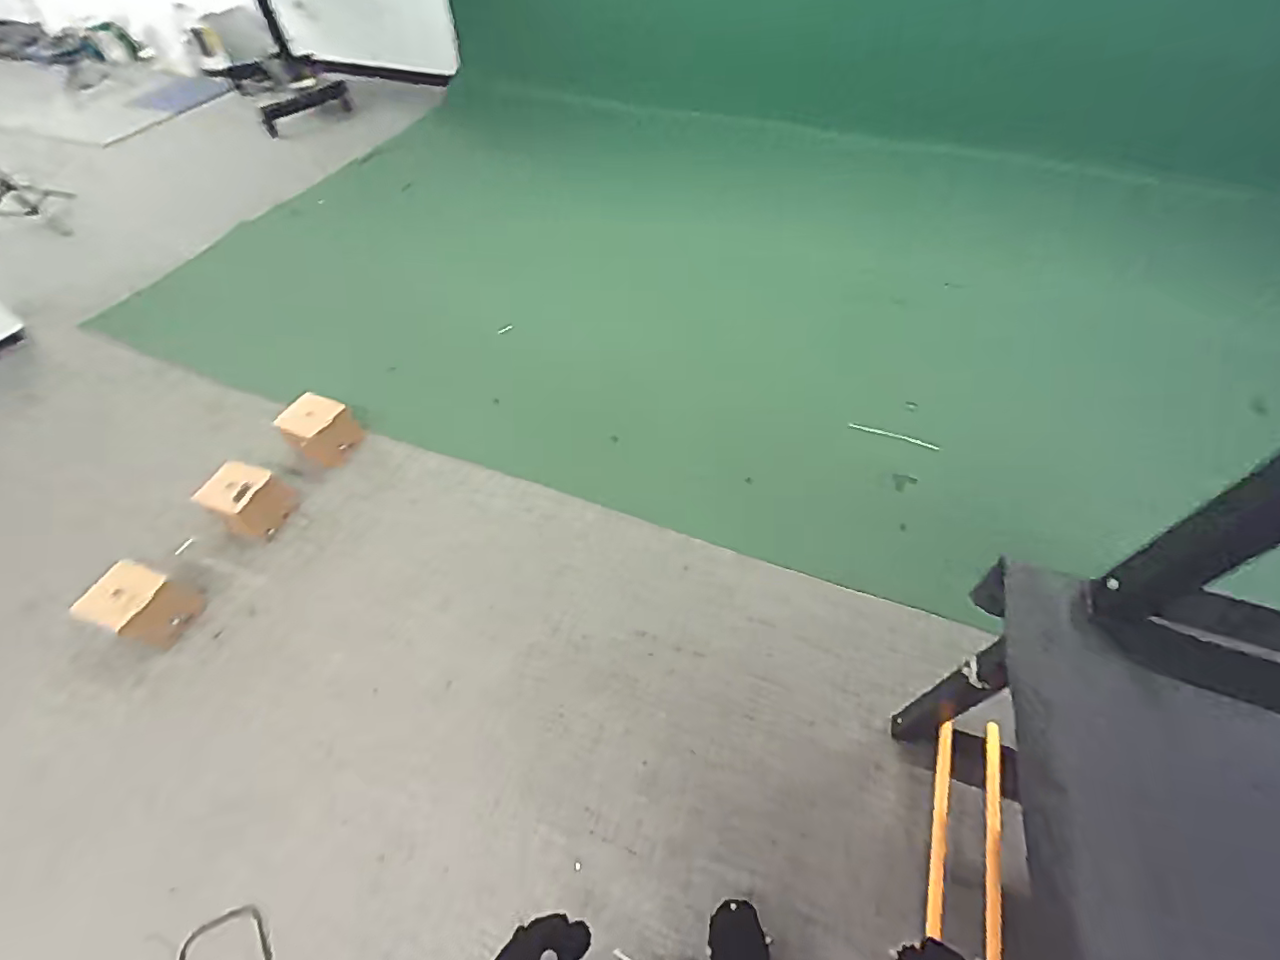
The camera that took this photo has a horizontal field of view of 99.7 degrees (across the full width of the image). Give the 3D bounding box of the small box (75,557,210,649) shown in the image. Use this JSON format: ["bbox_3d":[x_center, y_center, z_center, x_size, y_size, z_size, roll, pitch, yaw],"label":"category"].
[{"bbox_3d":[-1.360,0.343,1.492,0.179,0.176,0.168,16,56,12],"label":"small box"}]

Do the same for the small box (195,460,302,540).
[{"bbox_3d":[-1.222,0.068,1.705,0.179,0.176,0.168,14,54,11],"label":"small box"}]

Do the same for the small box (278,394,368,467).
[{"bbox_3d":[-1.101,-0.170,1.889,0.179,0.176,0.168,19,55,14],"label":"small box"}]
